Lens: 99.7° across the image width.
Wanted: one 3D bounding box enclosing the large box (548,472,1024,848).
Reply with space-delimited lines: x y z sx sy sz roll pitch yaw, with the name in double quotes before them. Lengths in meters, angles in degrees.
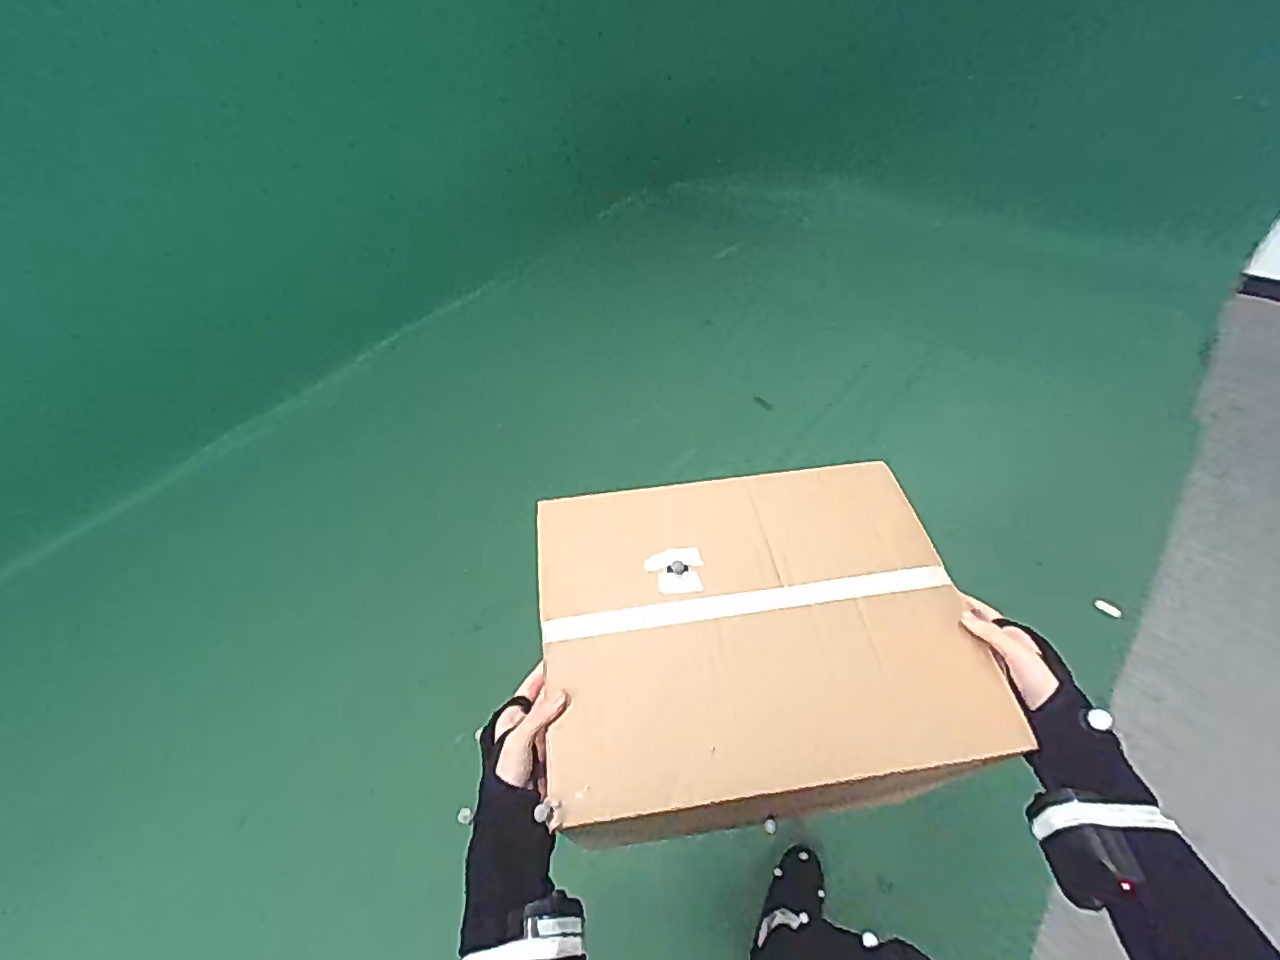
"large box" 0.118 0.224 0.652 0.408 0.320 0.320 -7 52 -3
